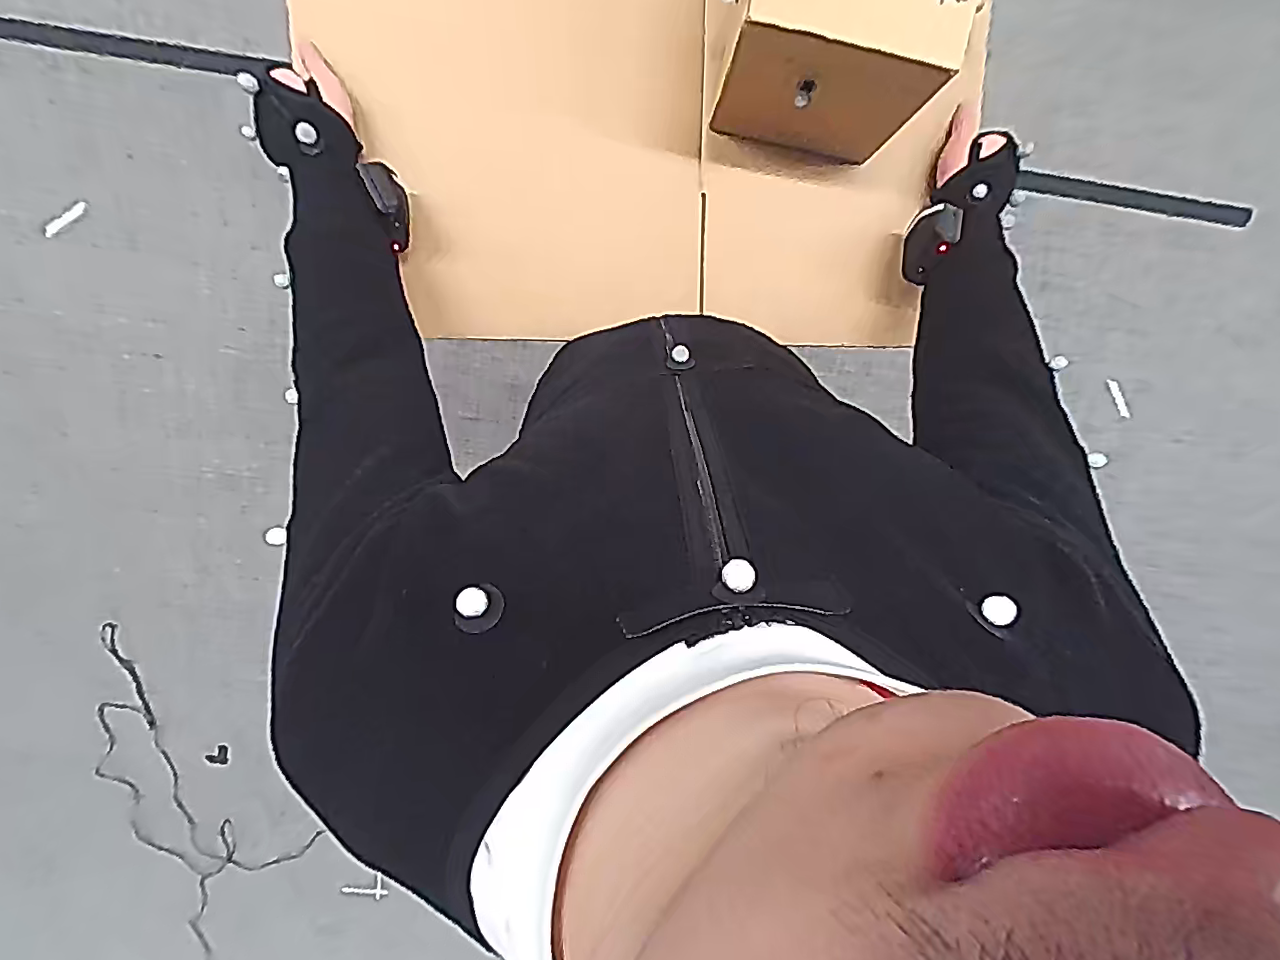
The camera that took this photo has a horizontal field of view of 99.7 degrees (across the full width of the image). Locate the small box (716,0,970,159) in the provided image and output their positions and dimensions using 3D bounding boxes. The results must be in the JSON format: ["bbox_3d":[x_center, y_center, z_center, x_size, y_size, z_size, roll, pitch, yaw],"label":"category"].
[{"bbox_3d":[0.176,-0.426,0.493,0.179,0.176,0.168,11,98,-3],"label":"small box"}]
